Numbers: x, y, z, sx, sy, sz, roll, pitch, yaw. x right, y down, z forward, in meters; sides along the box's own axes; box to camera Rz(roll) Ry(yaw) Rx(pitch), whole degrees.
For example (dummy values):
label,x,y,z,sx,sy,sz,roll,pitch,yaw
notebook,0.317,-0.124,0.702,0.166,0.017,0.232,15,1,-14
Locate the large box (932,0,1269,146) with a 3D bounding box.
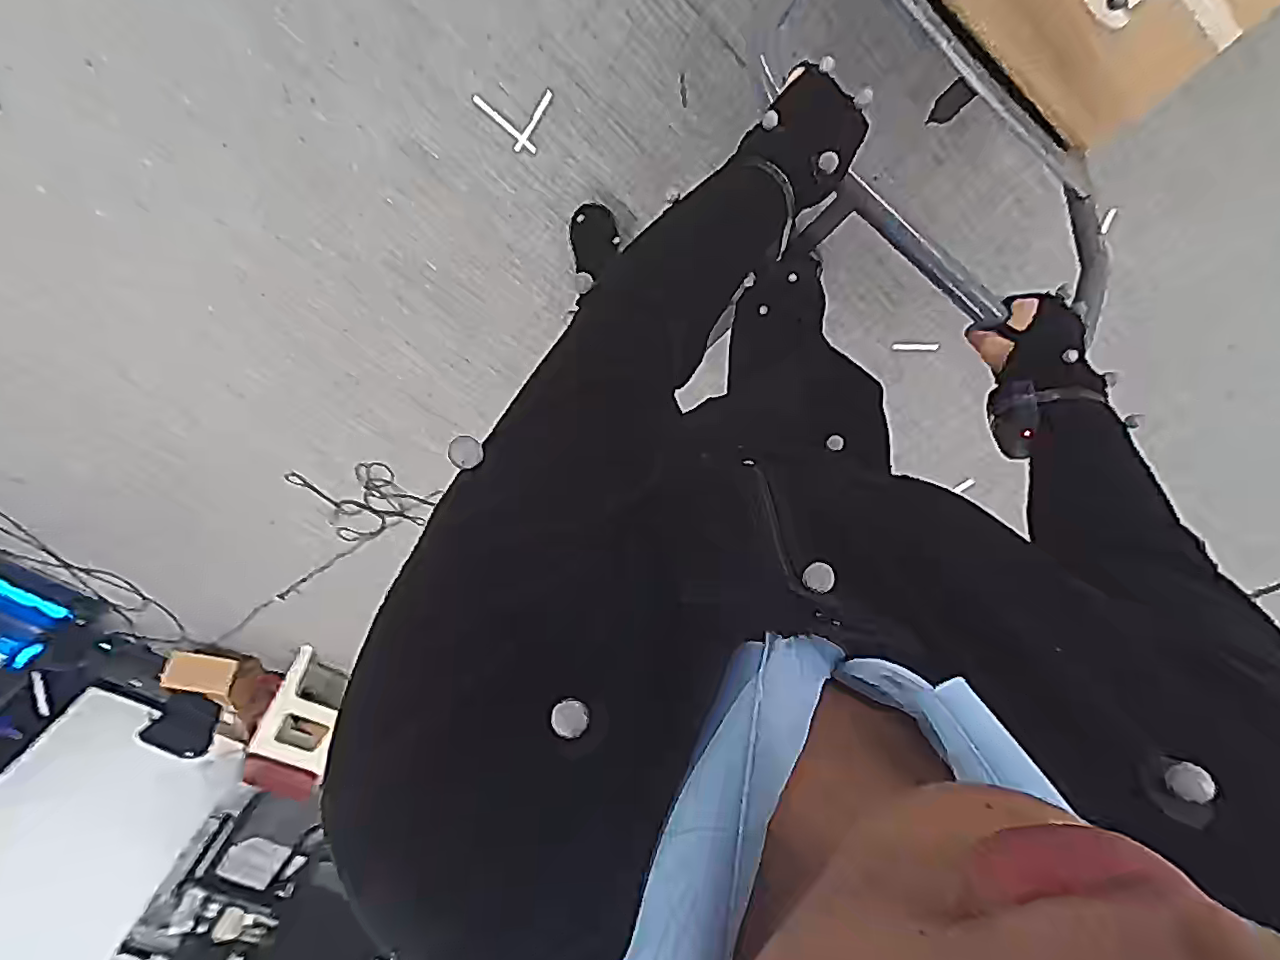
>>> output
label,x,y,z,sx,sy,sz,roll,pitch,yaw
large box,0.552,-0.730,0.662,0.408,0.320,0.320,31,144,-17
